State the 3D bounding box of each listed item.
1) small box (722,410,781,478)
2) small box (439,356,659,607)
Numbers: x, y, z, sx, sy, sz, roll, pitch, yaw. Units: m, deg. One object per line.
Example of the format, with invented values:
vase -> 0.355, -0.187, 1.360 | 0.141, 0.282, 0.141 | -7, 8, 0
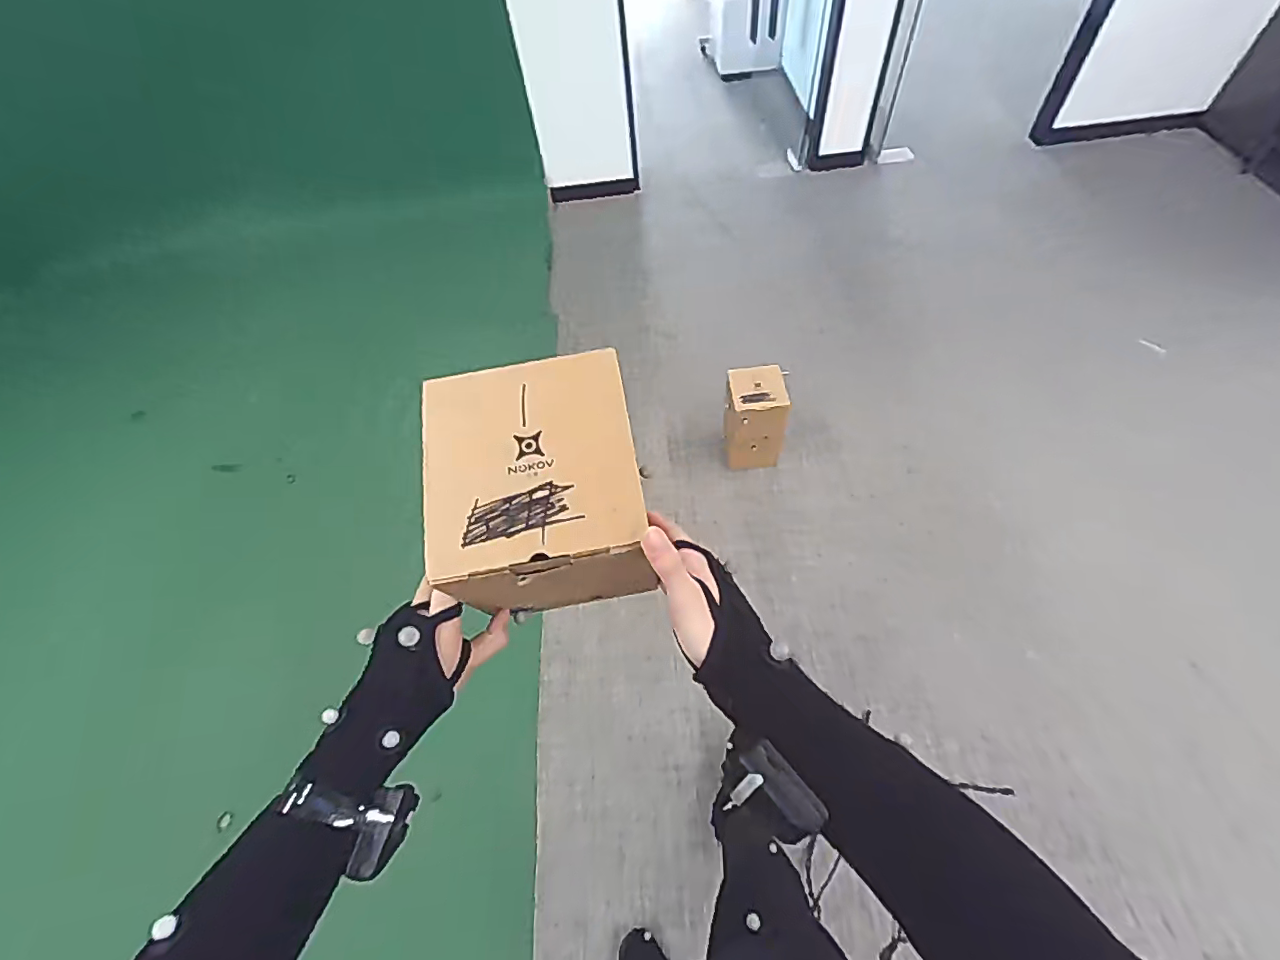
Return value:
small box -> 0.381, -0.122, 1.882 | 0.179, 0.176, 0.168 | -6, 55, 2
small box -> -0.076, 0.014, 0.509 | 0.168, 0.176, 0.179 | -9, 64, -1
